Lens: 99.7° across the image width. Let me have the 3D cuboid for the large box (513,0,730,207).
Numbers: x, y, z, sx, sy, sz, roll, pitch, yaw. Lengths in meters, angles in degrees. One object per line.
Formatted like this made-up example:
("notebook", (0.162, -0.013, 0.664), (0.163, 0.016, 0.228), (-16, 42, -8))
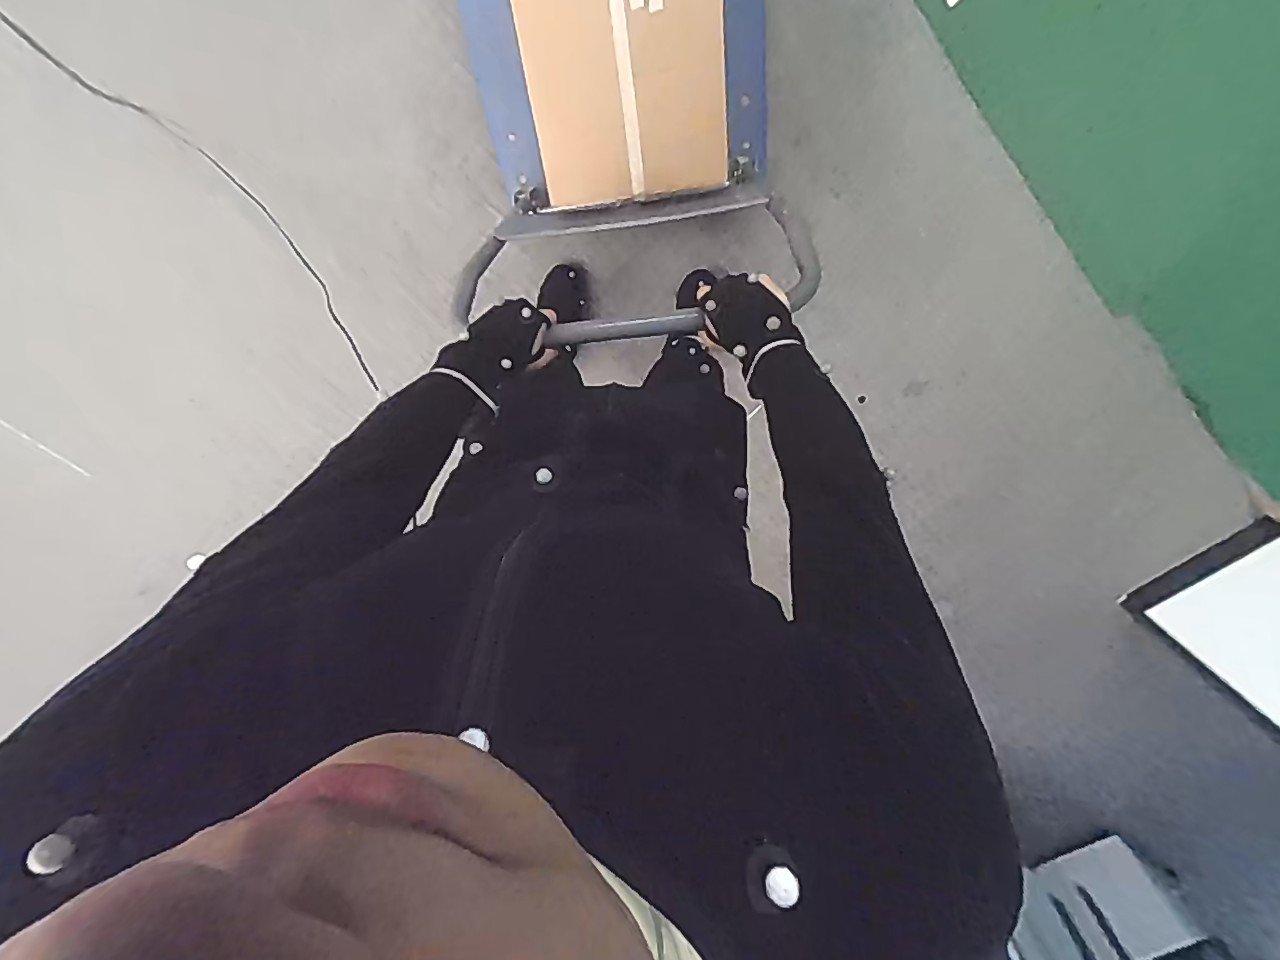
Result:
("large box", (-0.020, -0.743, 0.956), (0.320, 0.320, 0.408), (-5, 124, 5))
